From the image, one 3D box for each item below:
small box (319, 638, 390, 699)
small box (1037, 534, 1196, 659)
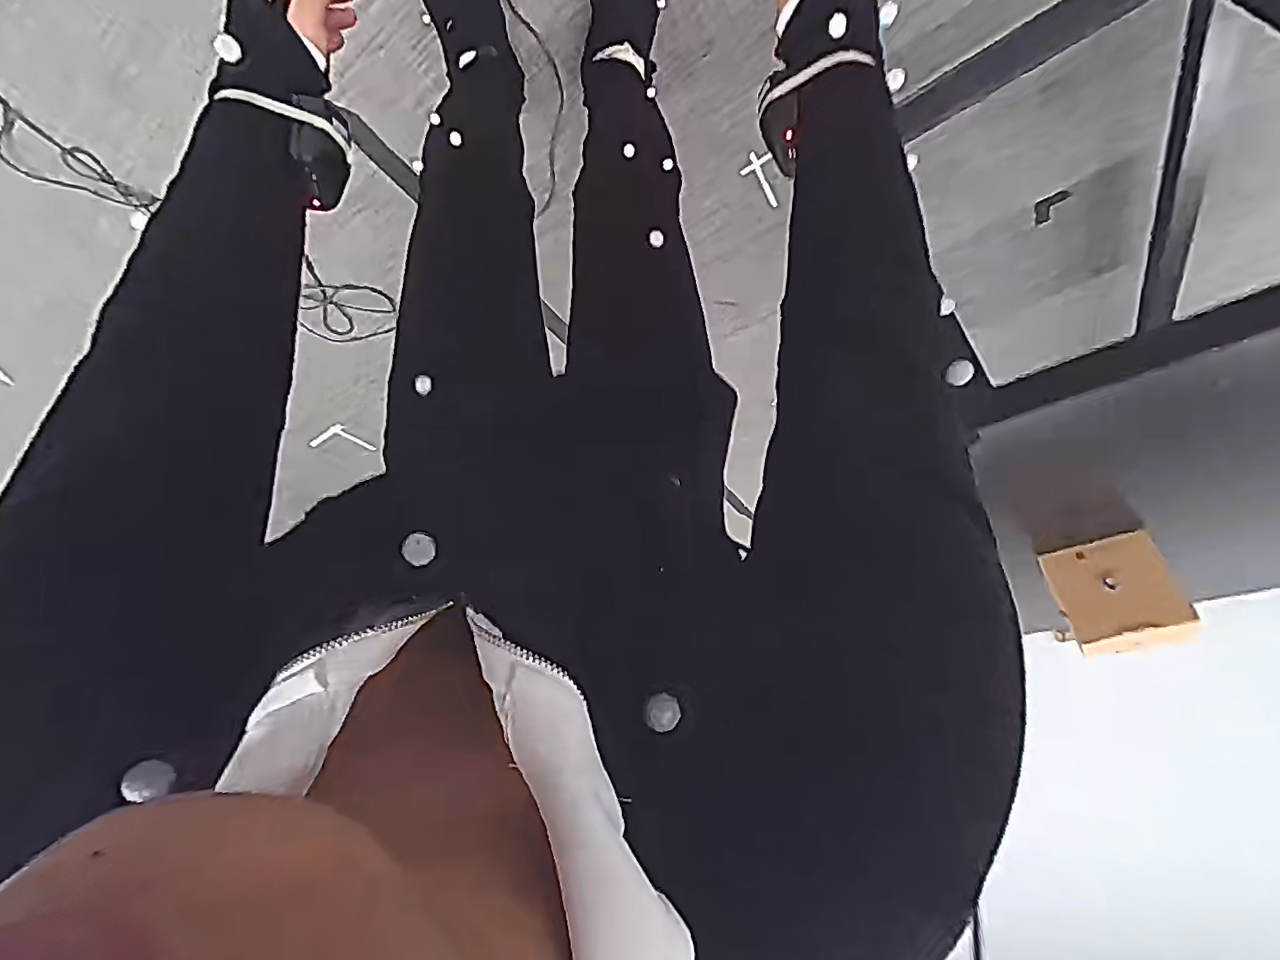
[{"bbox_3d":[-1.074,0.714,2.047,0.179,0.176,0.168,-28,142,26],"label":"small box"},{"bbox_3d":[0.870,0.216,1.002,0.168,0.176,0.179,-25,142,29],"label":"small box"}]
